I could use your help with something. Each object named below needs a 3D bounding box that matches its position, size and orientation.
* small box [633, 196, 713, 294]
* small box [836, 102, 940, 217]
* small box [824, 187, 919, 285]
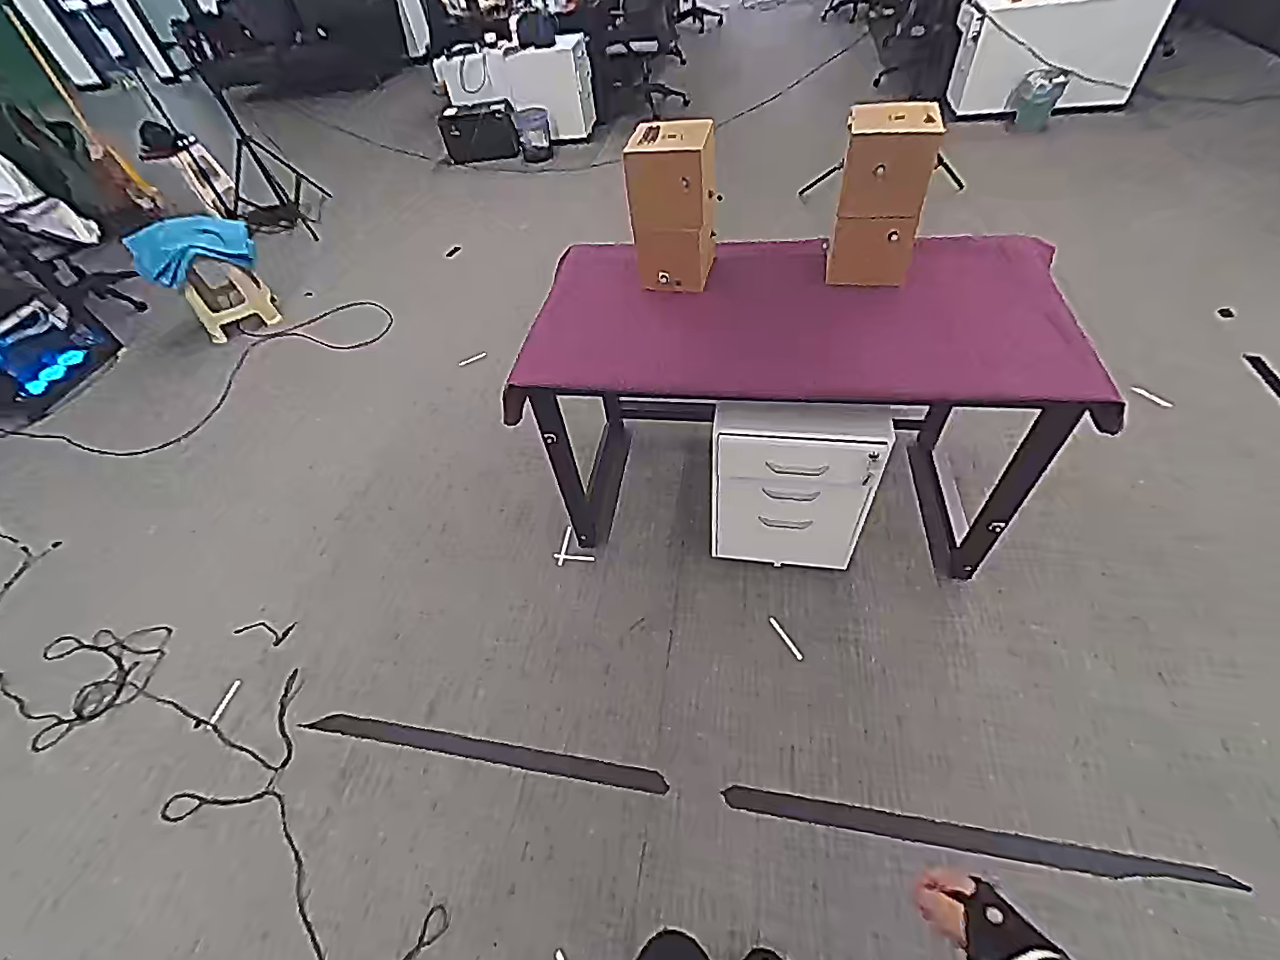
[{"bbox_3d":[0.090,-0.598,1.376,0.168,0.176,0.179,7,54,15],"label":"small box"},{"bbox_3d":[0.529,-0.692,1.175,0.179,0.176,0.168,7,53,15],"label":"small box"},{"bbox_3d":[0.548,-0.586,1.300,0.179,0.176,0.168,6,52,13],"label":"small box"}]
